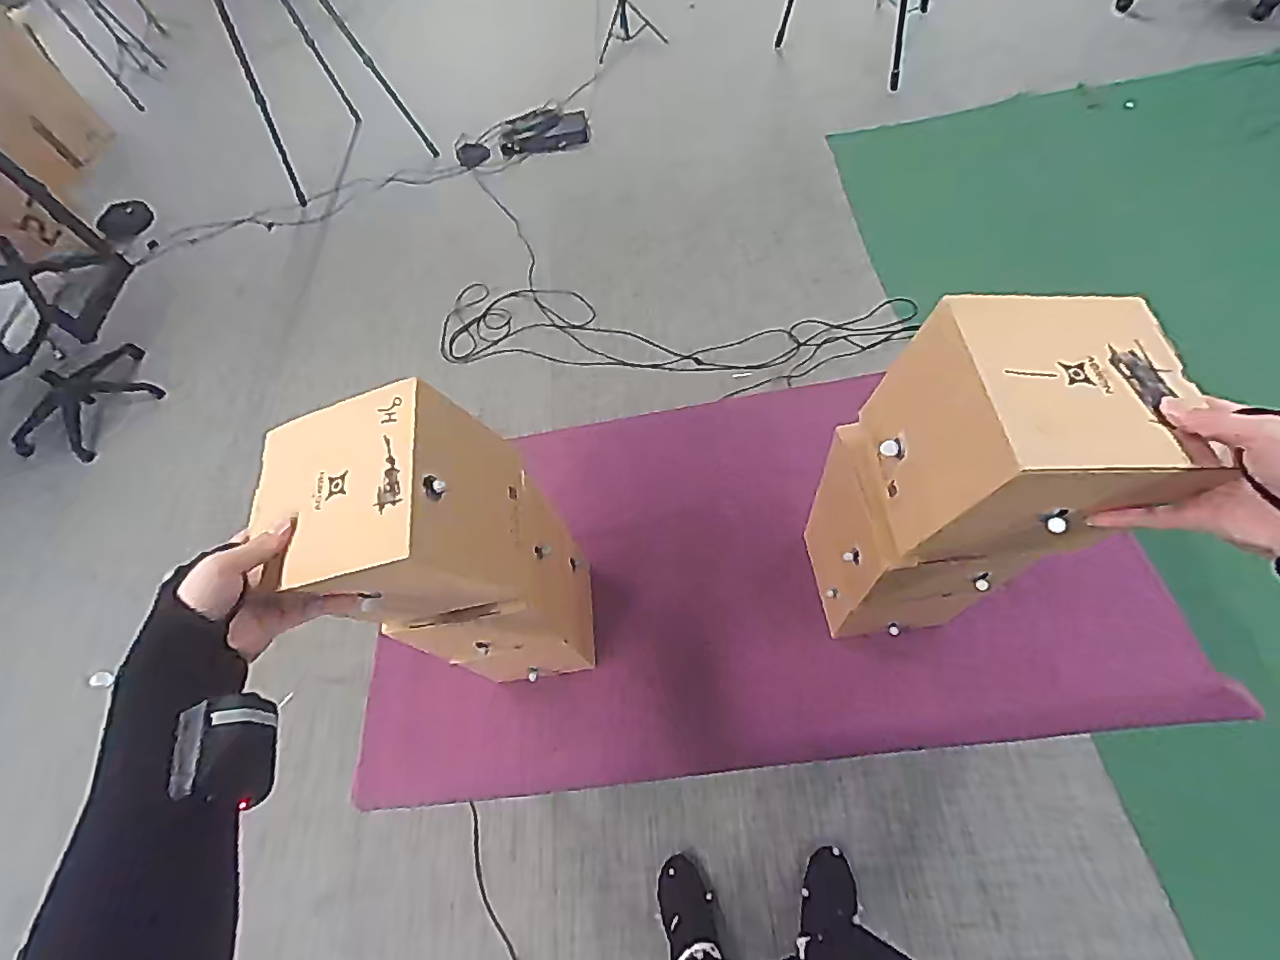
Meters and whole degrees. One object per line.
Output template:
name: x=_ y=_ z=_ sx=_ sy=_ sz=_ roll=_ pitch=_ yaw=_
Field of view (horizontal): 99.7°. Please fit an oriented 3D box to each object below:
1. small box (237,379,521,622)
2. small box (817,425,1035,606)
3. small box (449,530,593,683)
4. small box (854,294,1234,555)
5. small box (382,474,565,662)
small box: x=-0.237 y=0.035 z=0.528 sx=0.179 sy=0.176 sz=0.168 roll=-16 pitch=64 yaw=17
small box: x=0.318 y=0.041 z=0.637 sx=0.168 sy=0.176 sz=0.179 roll=-10 pitch=60 yaw=5
small box: x=-0.173 y=0.199 z=0.831 sx=0.168 sy=0.176 sz=0.179 roll=-10 pitch=59 yaw=5
small box: x=0.320 y=-0.040 z=0.476 sx=0.179 sy=0.176 sz=0.168 roll=-1 pitch=61 yaw=-4
small box: x=-0.199 y=0.118 z=0.692 sx=0.168 sy=0.176 sz=0.179 roll=-11 pitch=60 yaw=4
